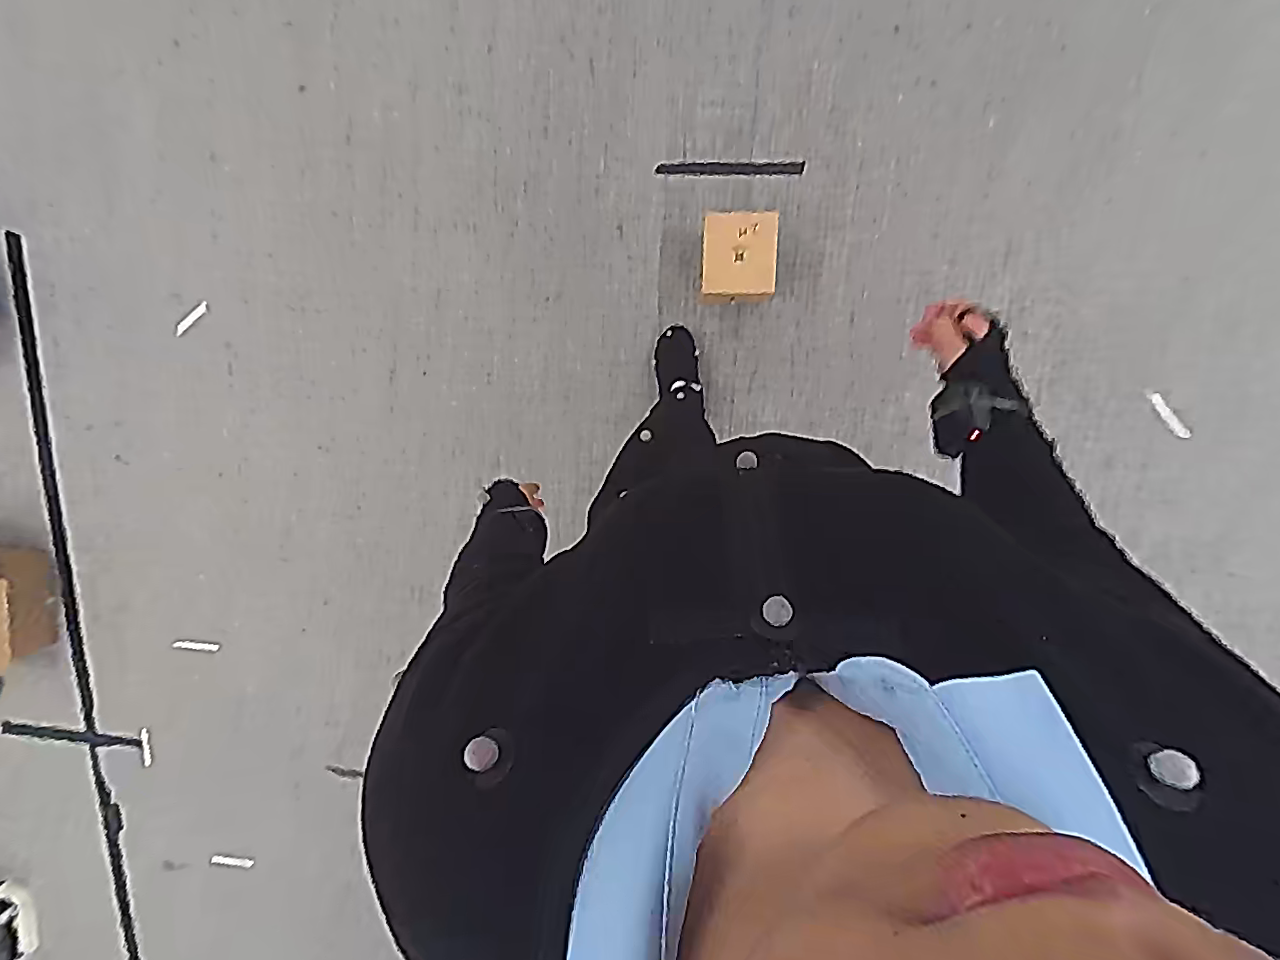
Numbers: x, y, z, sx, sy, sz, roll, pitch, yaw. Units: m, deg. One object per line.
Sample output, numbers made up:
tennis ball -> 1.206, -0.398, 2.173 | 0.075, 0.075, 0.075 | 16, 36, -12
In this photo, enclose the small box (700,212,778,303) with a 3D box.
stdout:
small box -> 0.230, -0.524, 1.293 | 0.168, 0.176, 0.179 | 2, 100, 4
